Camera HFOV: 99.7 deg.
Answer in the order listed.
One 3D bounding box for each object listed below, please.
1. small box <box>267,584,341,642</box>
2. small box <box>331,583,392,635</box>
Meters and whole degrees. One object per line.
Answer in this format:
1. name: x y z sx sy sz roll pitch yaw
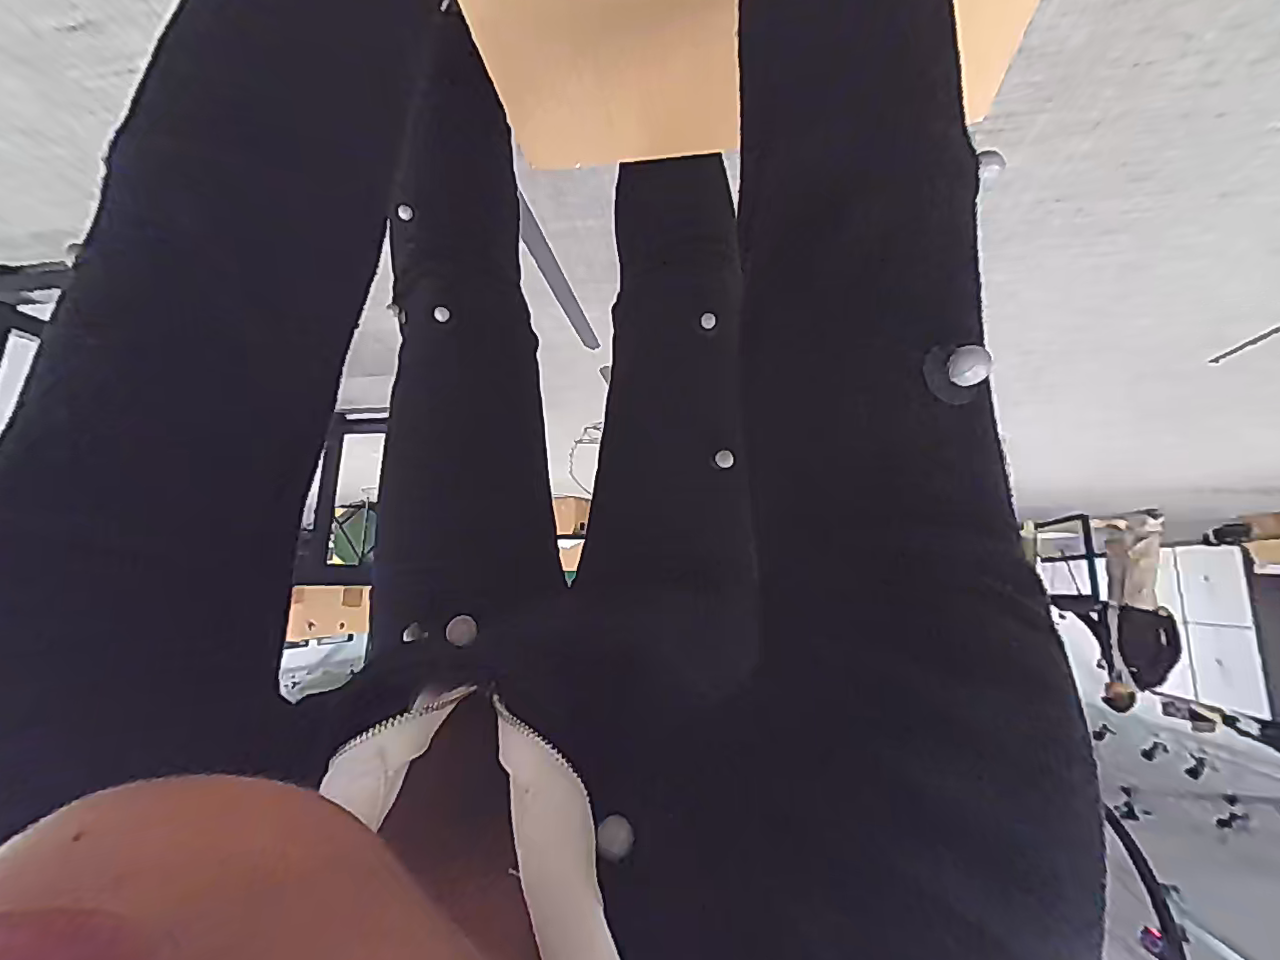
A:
1. small box: -1.082 0.416 1.710 0.168 0.176 0.179 1 169 9
2. small box: -1.035 0.467 1.974 0.168 0.176 0.179 -1 169 12
